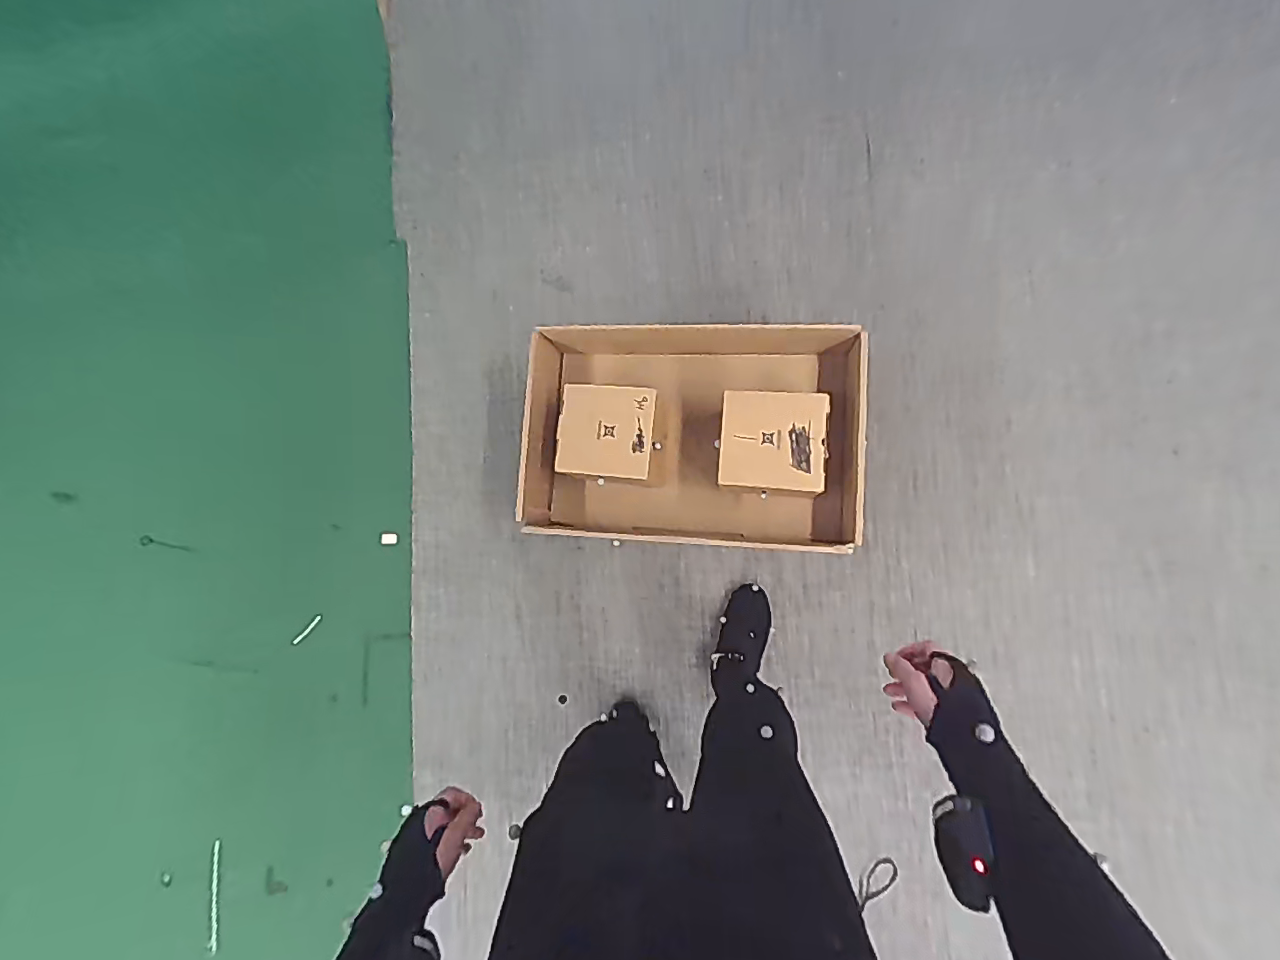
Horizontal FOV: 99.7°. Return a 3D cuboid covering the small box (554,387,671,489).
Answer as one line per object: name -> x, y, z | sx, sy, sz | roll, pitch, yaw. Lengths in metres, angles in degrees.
small box -> -0.047, -0.075, 1.048 | 0.179, 0.176, 0.168 | 5, 85, 13
